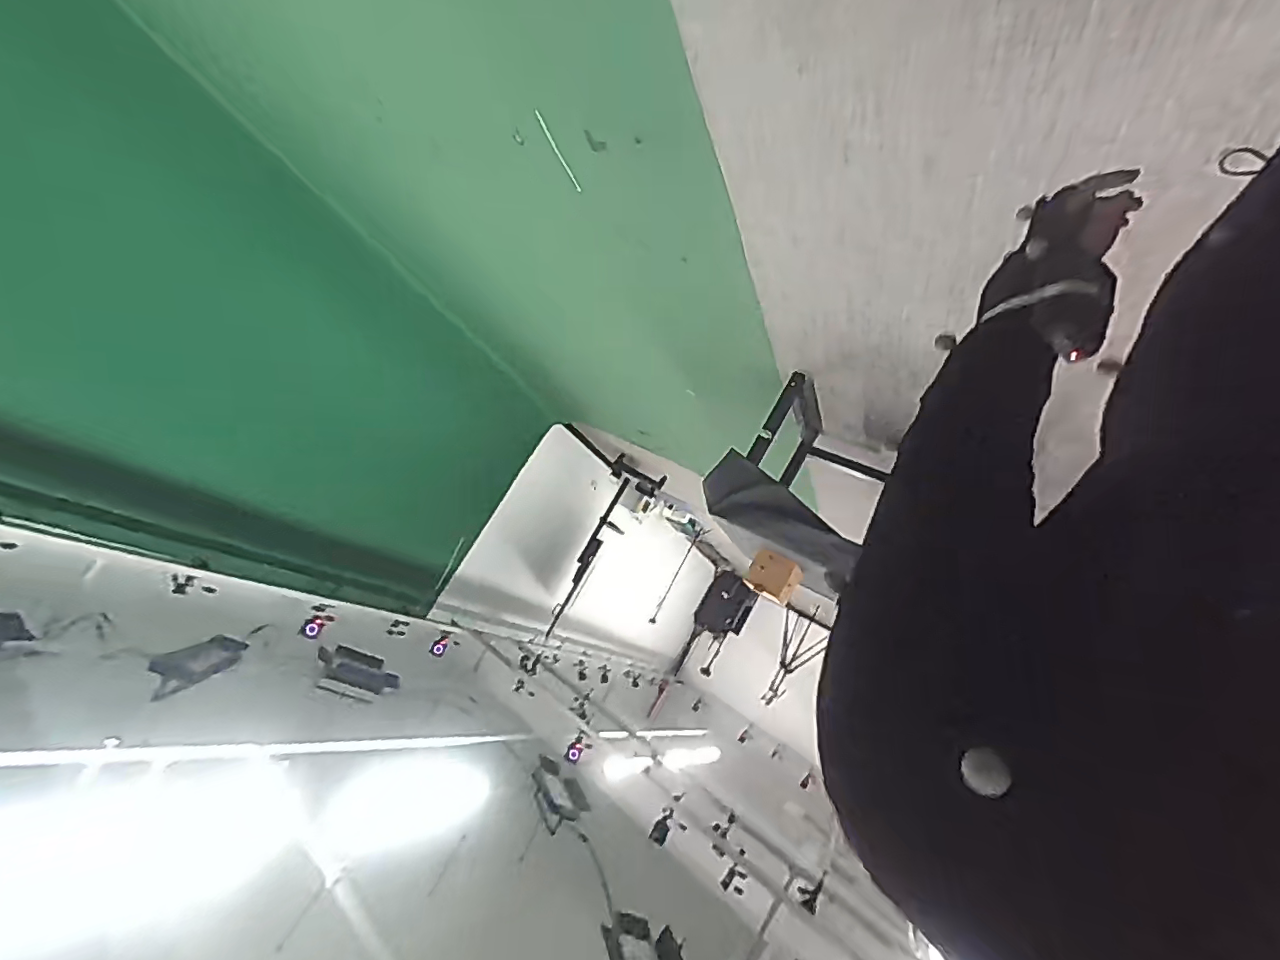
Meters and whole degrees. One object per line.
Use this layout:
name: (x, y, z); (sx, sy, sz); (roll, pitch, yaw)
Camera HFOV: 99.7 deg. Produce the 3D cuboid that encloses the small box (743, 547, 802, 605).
small box: (0.564, 0.401, 2.278); (0.168, 0.176, 0.179); (27, 172, 32)
